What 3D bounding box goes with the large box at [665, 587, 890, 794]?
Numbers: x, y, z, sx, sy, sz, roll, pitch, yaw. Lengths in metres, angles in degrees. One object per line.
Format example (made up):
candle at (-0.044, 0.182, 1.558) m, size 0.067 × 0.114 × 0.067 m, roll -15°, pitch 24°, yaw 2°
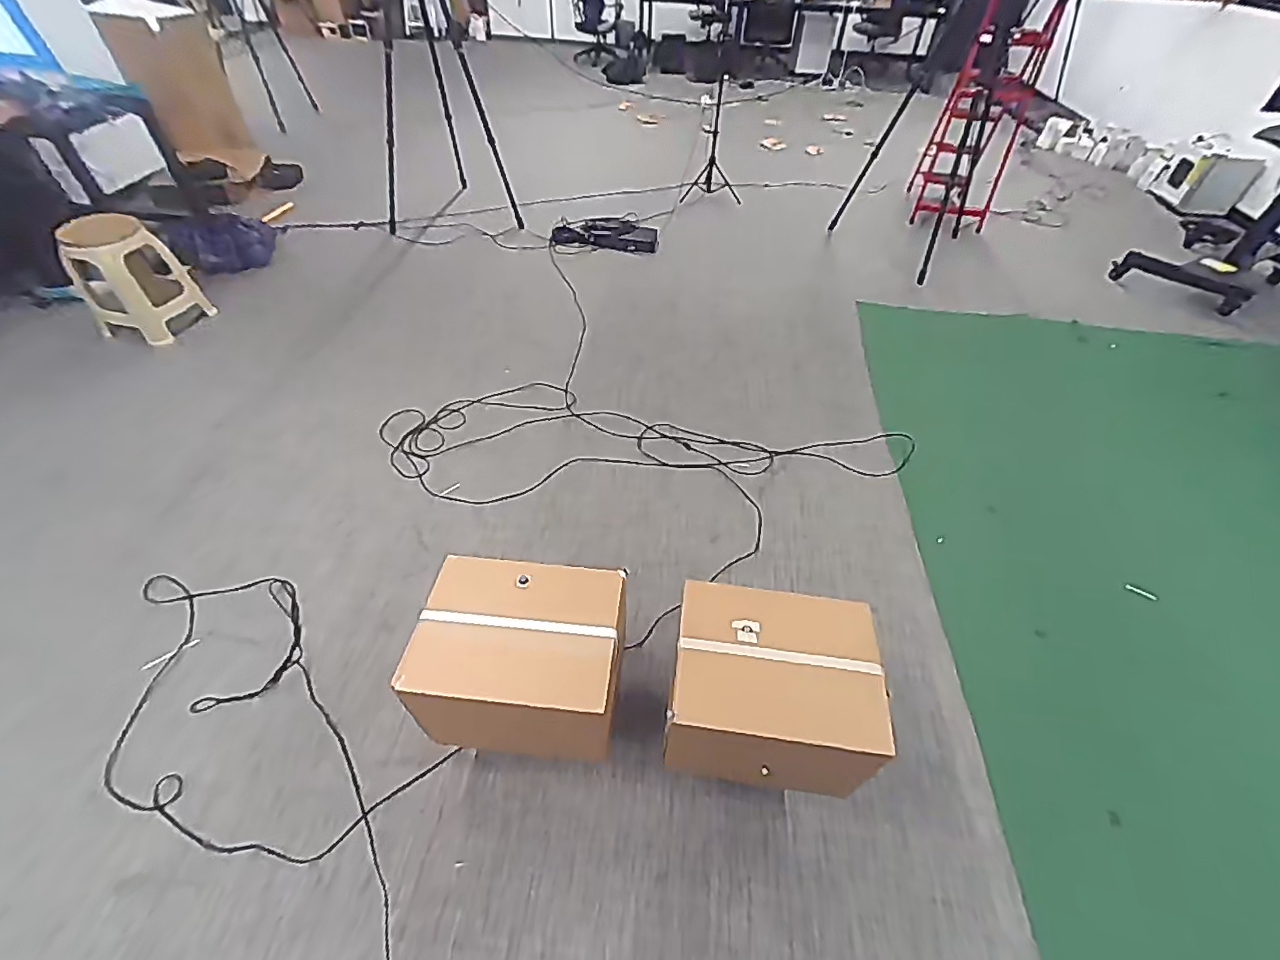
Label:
large box at (0.276, 0.470, 1.201) m, size 0.408 × 0.320 × 0.320 m, roll 7°, pitch 47°, yaw 5°
